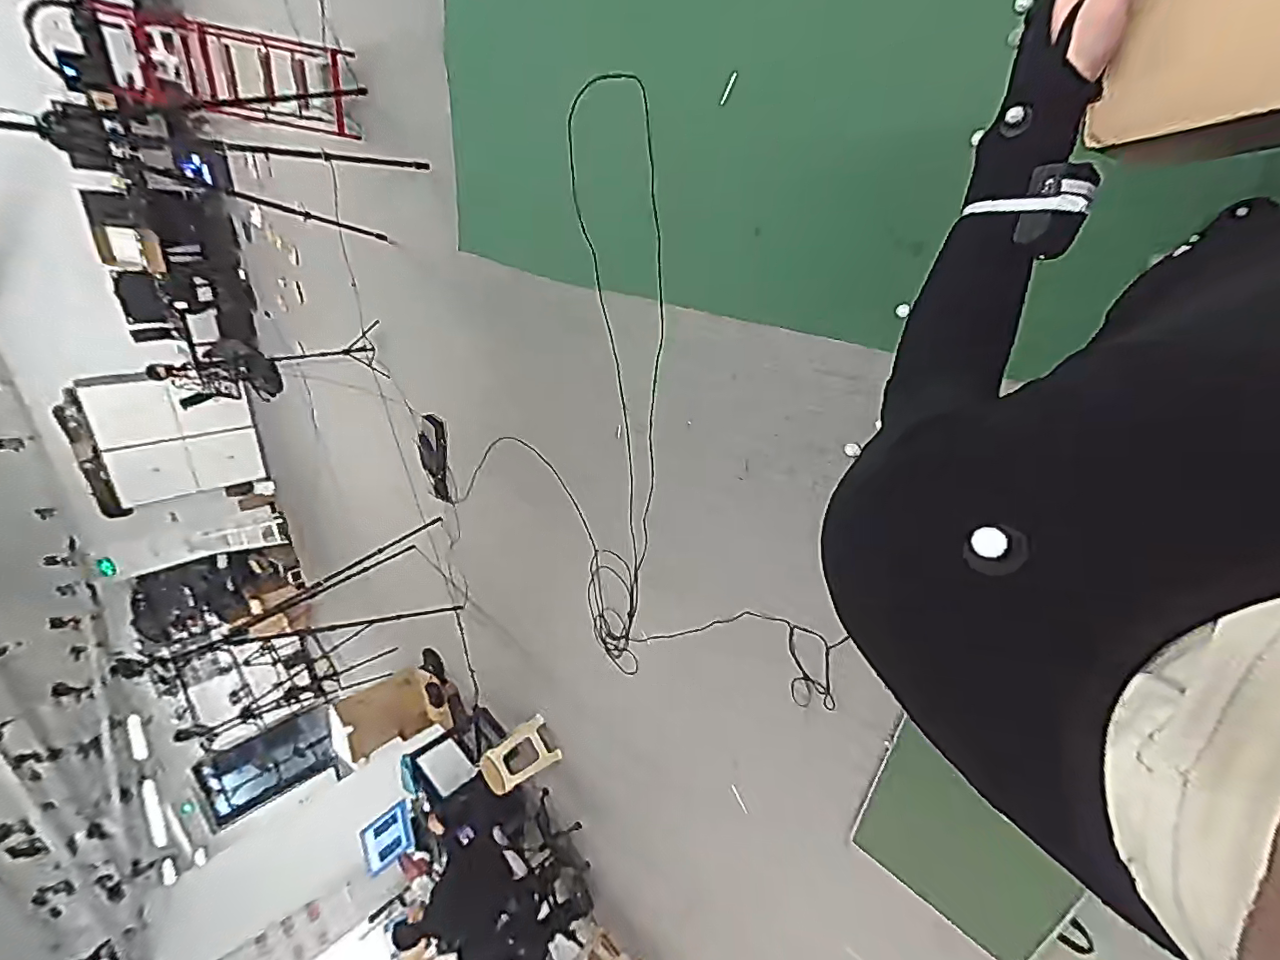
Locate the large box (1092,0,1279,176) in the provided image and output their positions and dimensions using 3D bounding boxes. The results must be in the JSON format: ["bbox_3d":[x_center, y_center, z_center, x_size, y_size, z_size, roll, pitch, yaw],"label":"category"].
[{"bbox_3d":[0.589,-0.432,0.356,0.408,0.320,0.320,11,115,44],"label":"large box"}]
